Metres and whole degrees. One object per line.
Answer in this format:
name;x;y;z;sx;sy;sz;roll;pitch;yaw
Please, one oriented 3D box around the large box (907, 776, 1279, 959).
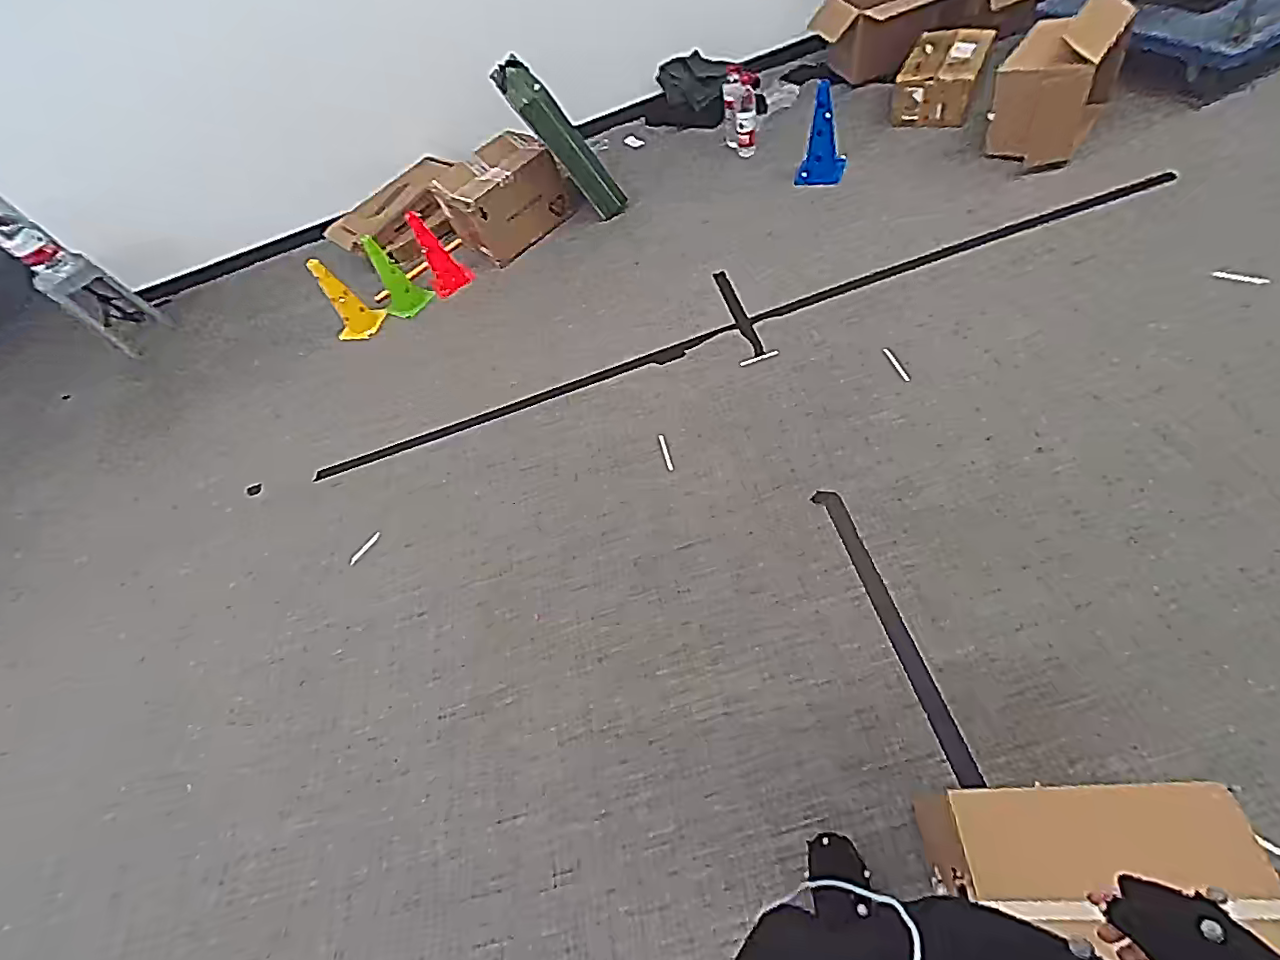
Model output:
large box;0.725;0.695;0.902;0.408;0.320;0.320;-8;56;10
